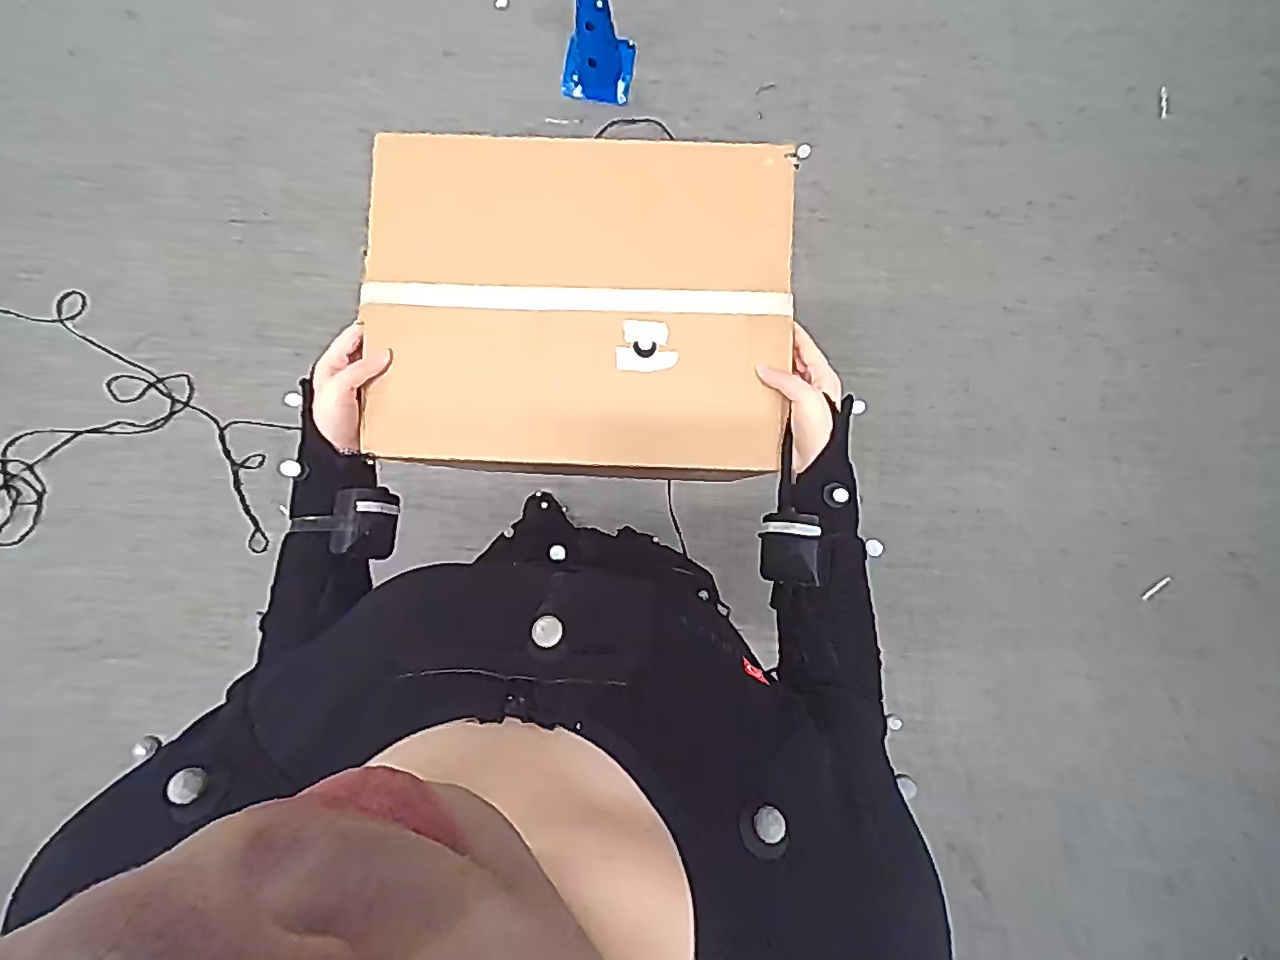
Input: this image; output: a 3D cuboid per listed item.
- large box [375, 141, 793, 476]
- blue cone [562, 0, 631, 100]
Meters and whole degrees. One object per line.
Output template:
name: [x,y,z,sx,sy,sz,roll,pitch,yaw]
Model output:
large box: [-0.055,-0.168,0.670,0.408,0.320,0.320,2,89,0]
blue cone: [-0.128,-1.236,1.439,0.193,0.380,0.192,11,86,1]
